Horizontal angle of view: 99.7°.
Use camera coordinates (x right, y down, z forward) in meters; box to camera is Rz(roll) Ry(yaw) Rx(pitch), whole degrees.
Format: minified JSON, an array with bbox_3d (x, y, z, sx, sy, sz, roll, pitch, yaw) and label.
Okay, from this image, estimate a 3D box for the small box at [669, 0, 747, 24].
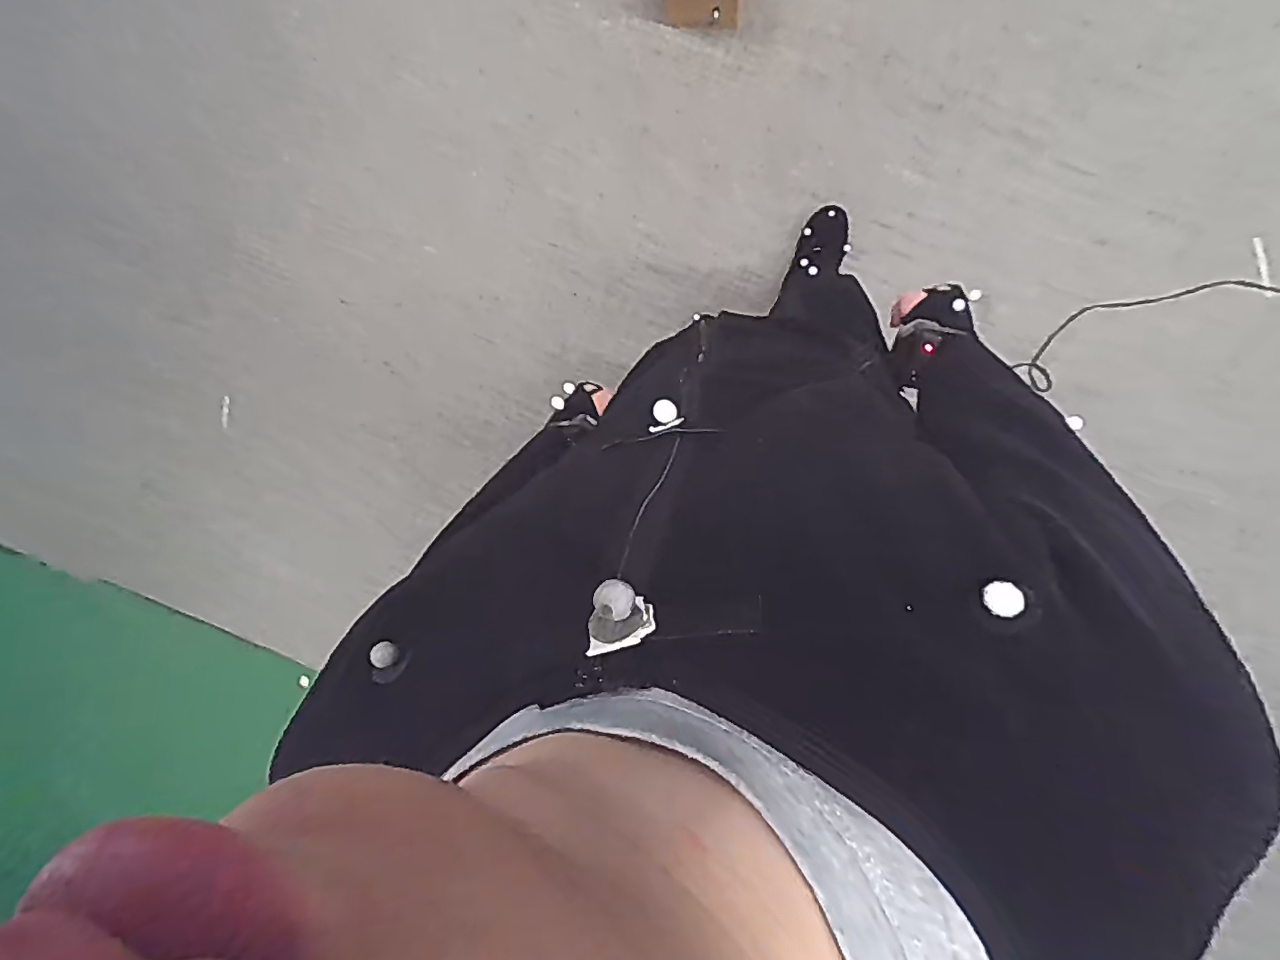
[{"bbox_3d":[0.150,-1.093,1.125,0.168,0.176,0.179,9,108,7],"label":"small box"}]
